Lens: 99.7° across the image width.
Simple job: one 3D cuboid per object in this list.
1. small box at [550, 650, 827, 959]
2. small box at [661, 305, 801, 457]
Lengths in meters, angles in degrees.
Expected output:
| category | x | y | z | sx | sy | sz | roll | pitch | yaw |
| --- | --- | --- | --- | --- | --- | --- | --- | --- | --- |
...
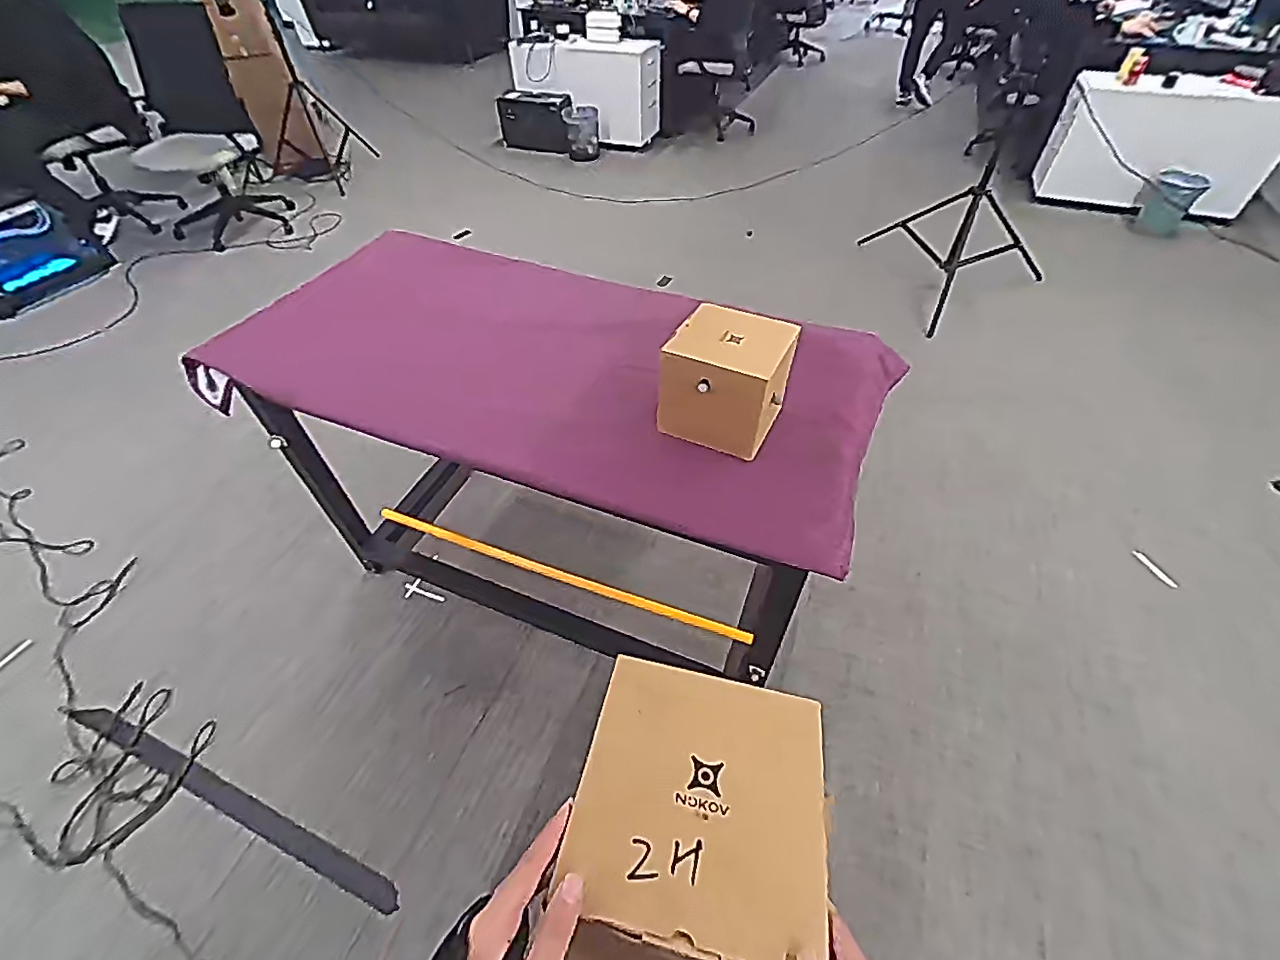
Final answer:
| category | x | y | z | sx | sy | sz | roll | pitch | yaw |
| --- | --- | --- | --- | --- | --- | --- | --- | --- | --- |
| small box | 0.037 | 0.269 | 0.420 | 0.168 | 0.176 | 0.179 | 11 | 39 | 8 |
| small box | 0.148 | -0.163 | 0.908 | 0.179 | 0.176 | 0.168 | 20 | 50 | 19 |
